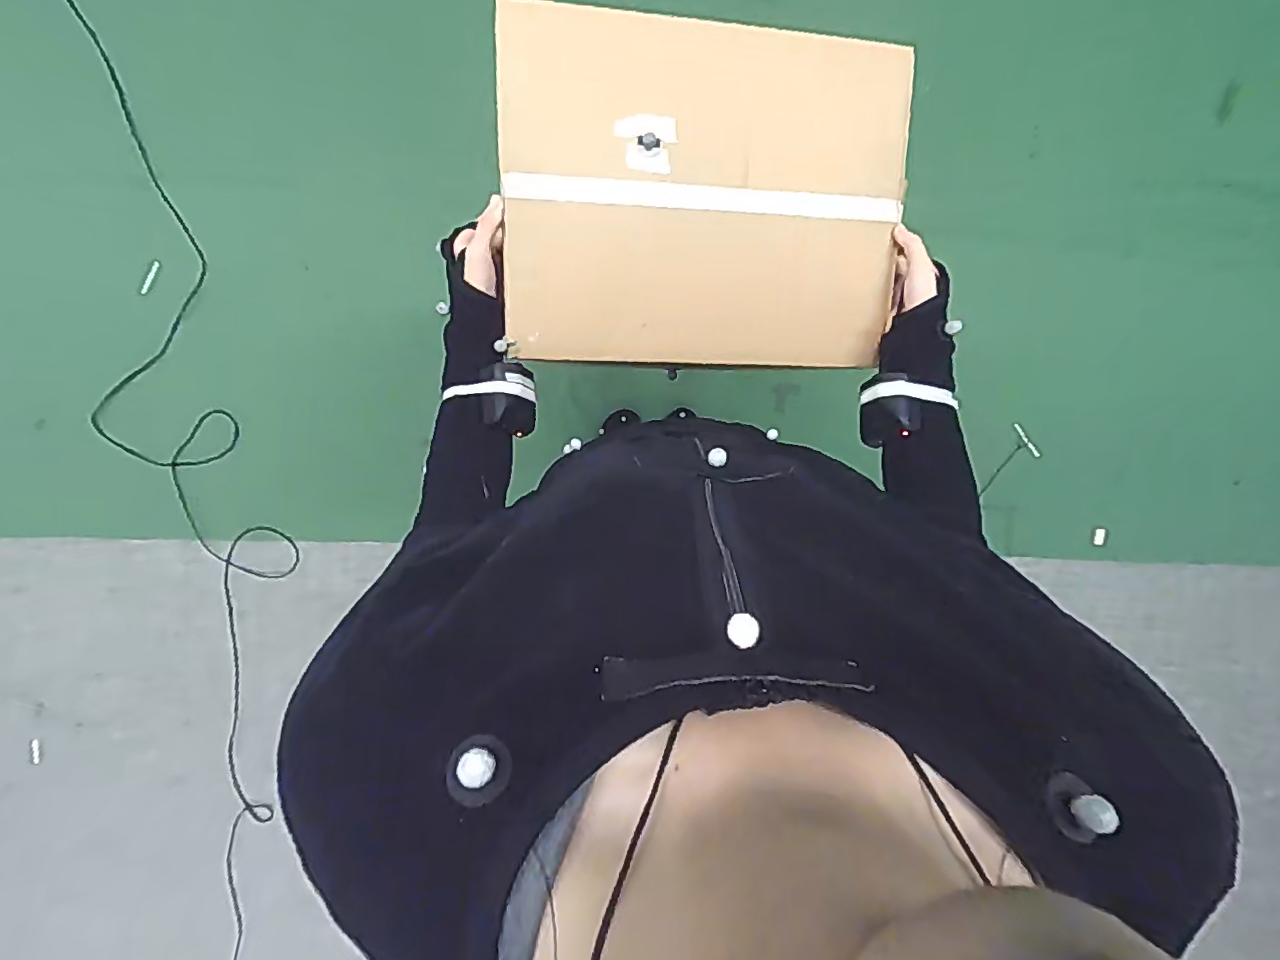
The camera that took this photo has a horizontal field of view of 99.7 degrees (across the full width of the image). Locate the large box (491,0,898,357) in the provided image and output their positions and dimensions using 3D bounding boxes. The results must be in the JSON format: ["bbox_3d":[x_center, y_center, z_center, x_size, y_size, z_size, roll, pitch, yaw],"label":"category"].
[{"bbox_3d":[0.040,-0.320,0.687,0.408,0.320,0.320,0,102,-8],"label":"large box"}]
